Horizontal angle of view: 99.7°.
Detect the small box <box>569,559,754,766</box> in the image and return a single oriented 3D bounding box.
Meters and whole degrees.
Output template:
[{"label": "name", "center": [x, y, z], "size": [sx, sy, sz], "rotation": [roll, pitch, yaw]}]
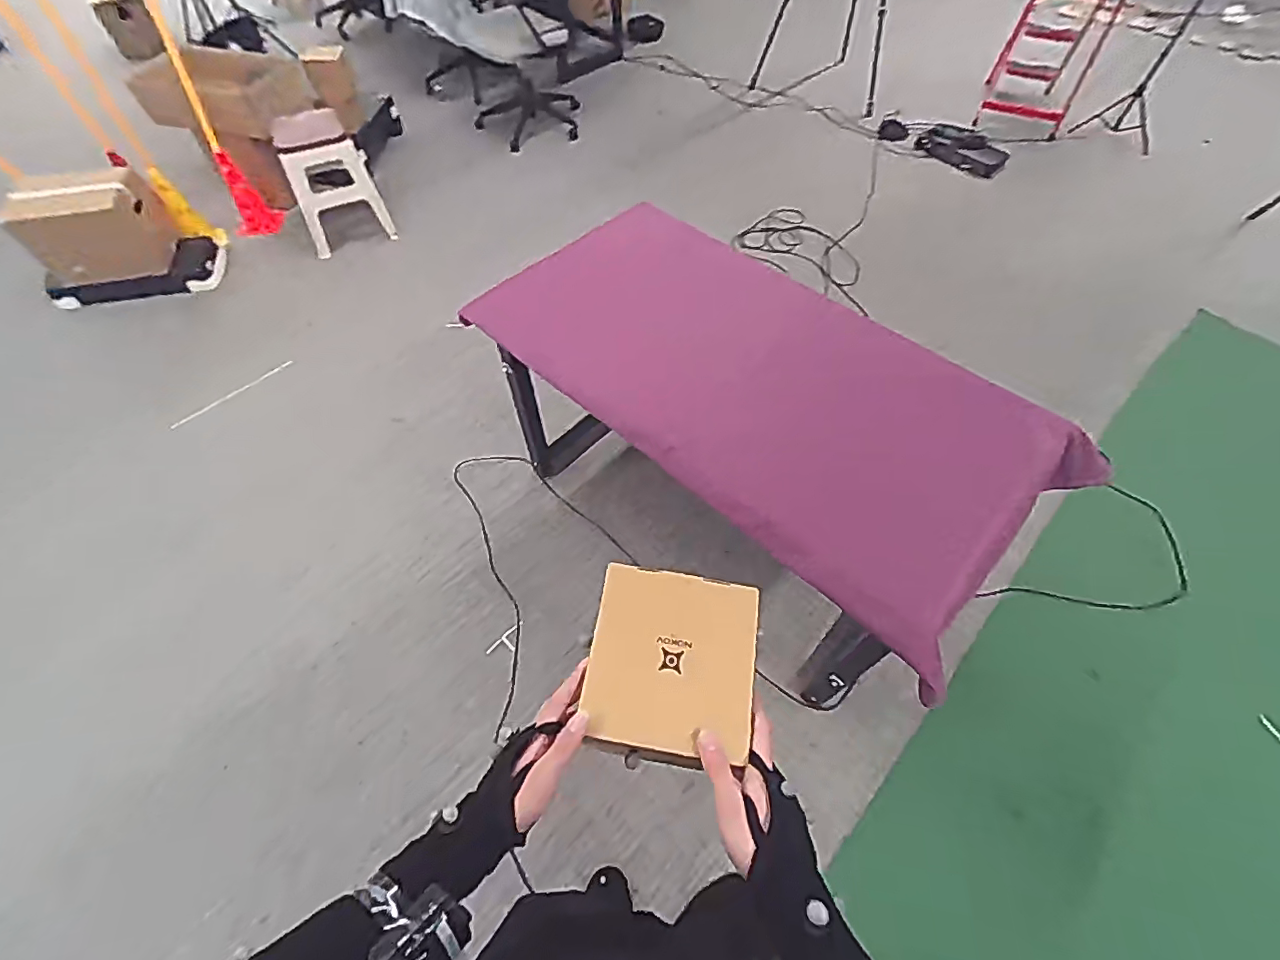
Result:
[{"label": "small box", "center": [0.026, 0.211, 0.608], "size": [0.168, 0.176, 0.179], "rotation": [9, 59, 3]}]
